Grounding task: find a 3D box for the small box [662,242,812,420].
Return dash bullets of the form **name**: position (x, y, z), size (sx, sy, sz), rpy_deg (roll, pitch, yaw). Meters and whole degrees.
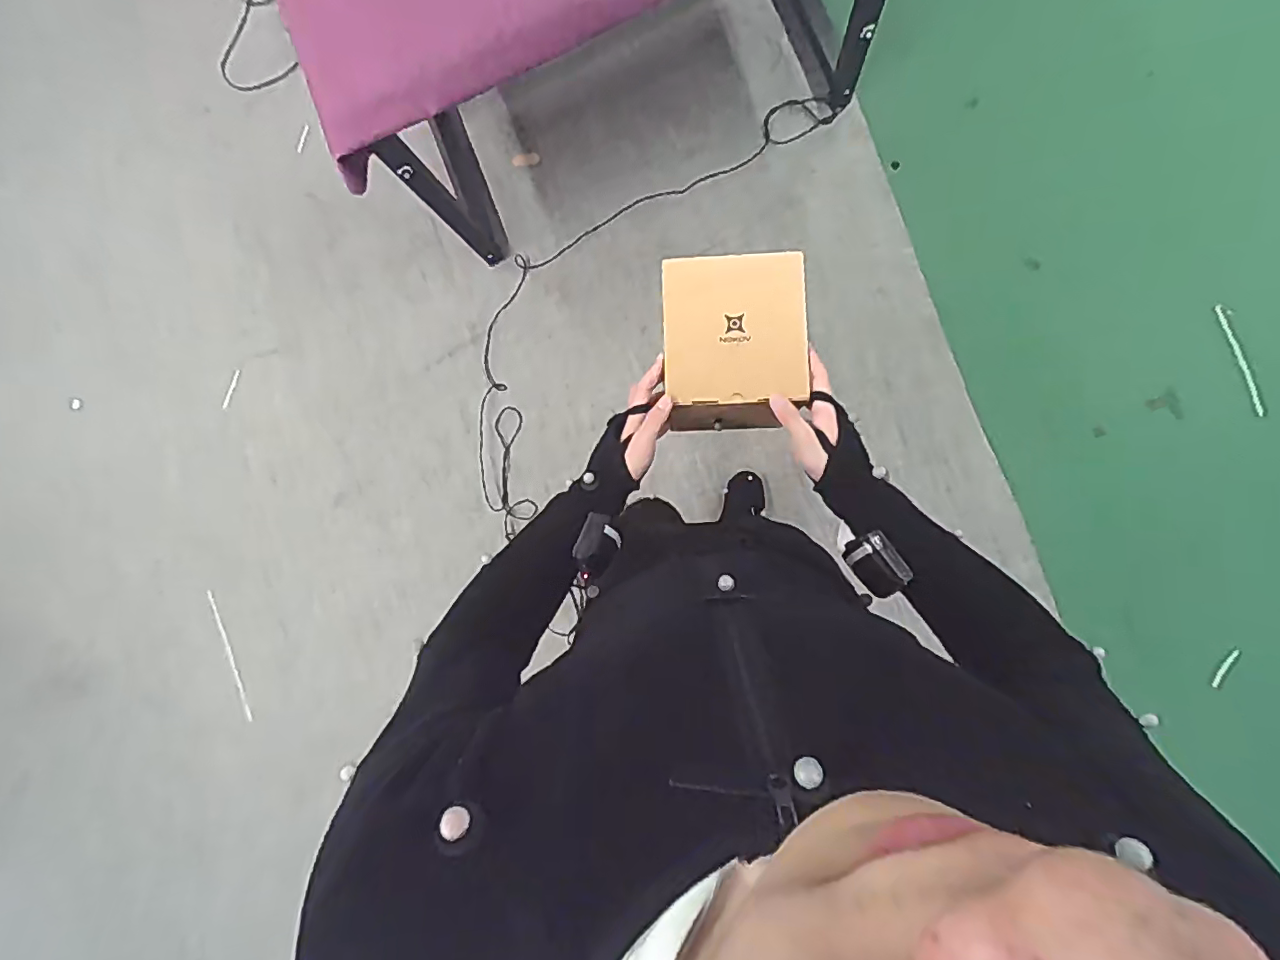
- **small box**: position (0.113, -0.179, 0.693), size (0.168, 0.176, 0.179), rpy_deg (-2, 87, 3)
